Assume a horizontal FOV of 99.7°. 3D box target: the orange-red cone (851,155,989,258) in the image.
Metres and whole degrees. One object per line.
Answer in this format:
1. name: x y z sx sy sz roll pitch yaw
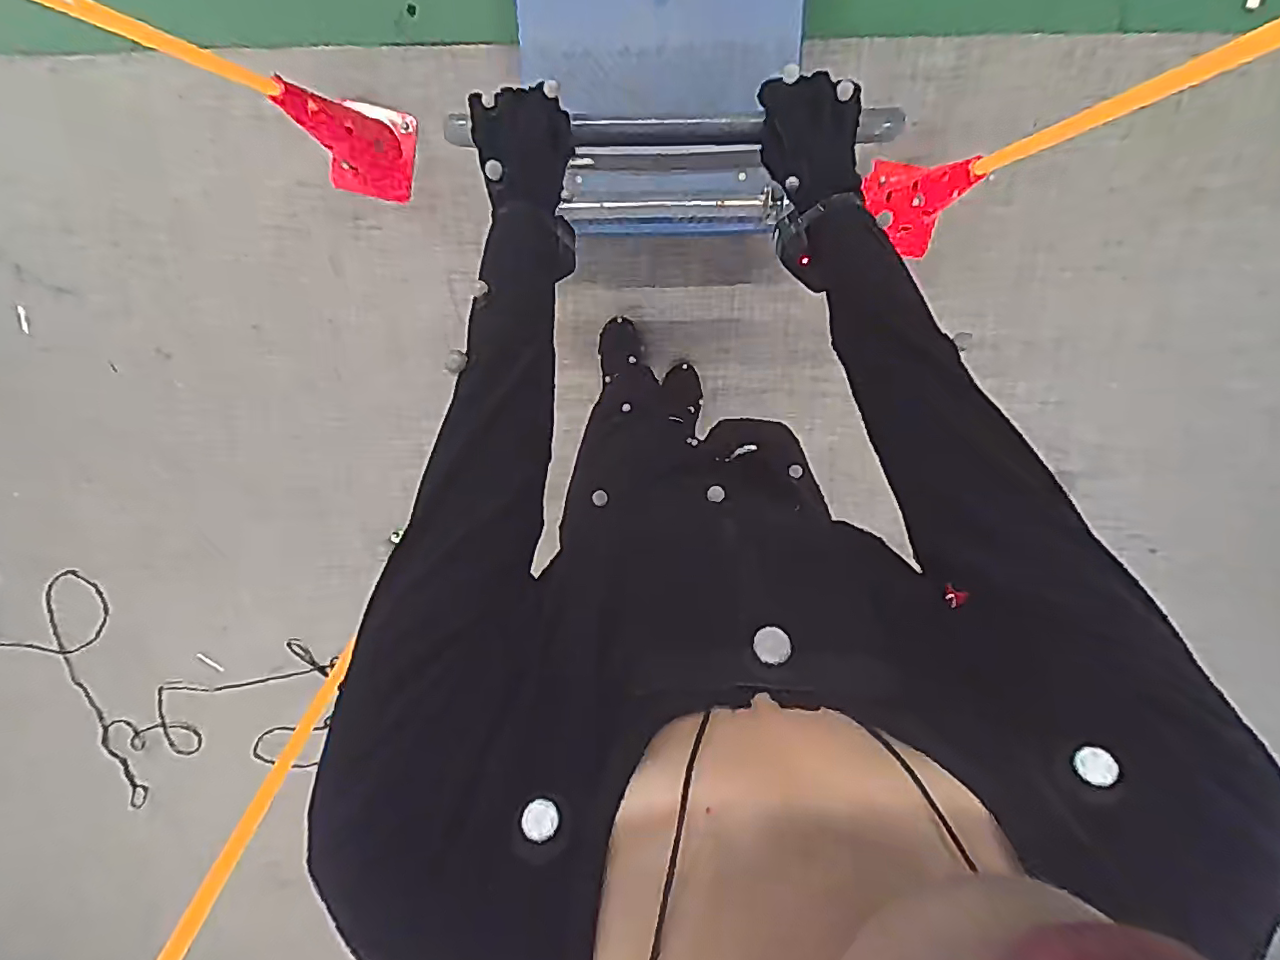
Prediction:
1. orange-red cone: 0.624 -0.612 1.149 0.198 0.360 0.199 11 106 -1
